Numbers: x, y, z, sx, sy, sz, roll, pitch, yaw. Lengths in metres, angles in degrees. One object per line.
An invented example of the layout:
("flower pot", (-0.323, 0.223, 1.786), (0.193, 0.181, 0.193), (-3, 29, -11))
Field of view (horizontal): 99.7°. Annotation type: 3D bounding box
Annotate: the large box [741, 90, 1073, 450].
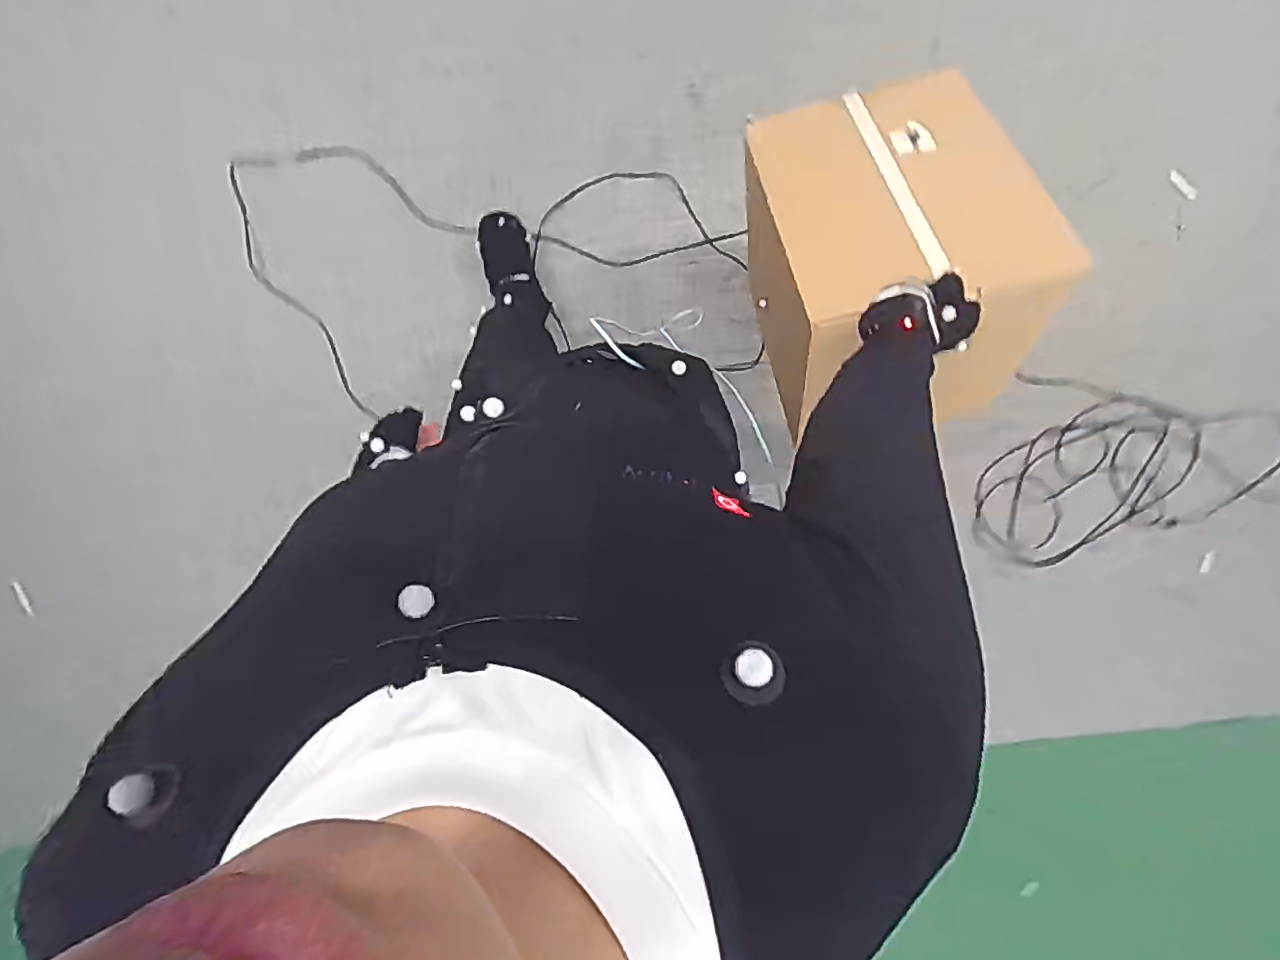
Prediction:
("large box", (0.363, -0.316, 0.865), (0.320, 0.320, 0.408), (-11, 61, 7))
